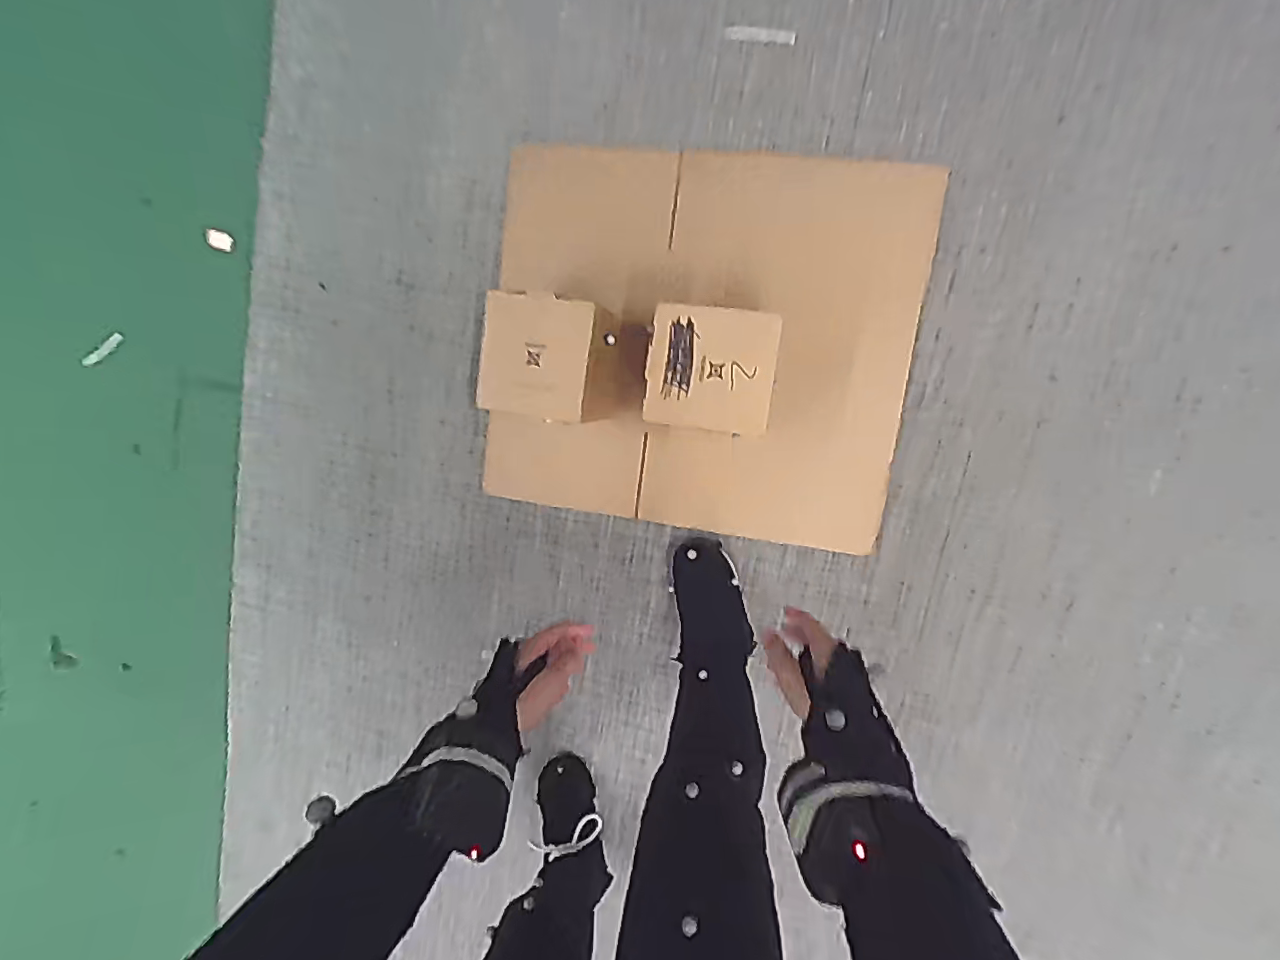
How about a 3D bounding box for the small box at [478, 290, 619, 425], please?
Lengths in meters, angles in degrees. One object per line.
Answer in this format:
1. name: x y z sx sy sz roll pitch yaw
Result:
1. small box: -0.136 -0.188 0.856 0.168 0.176 0.179 9 100 10
